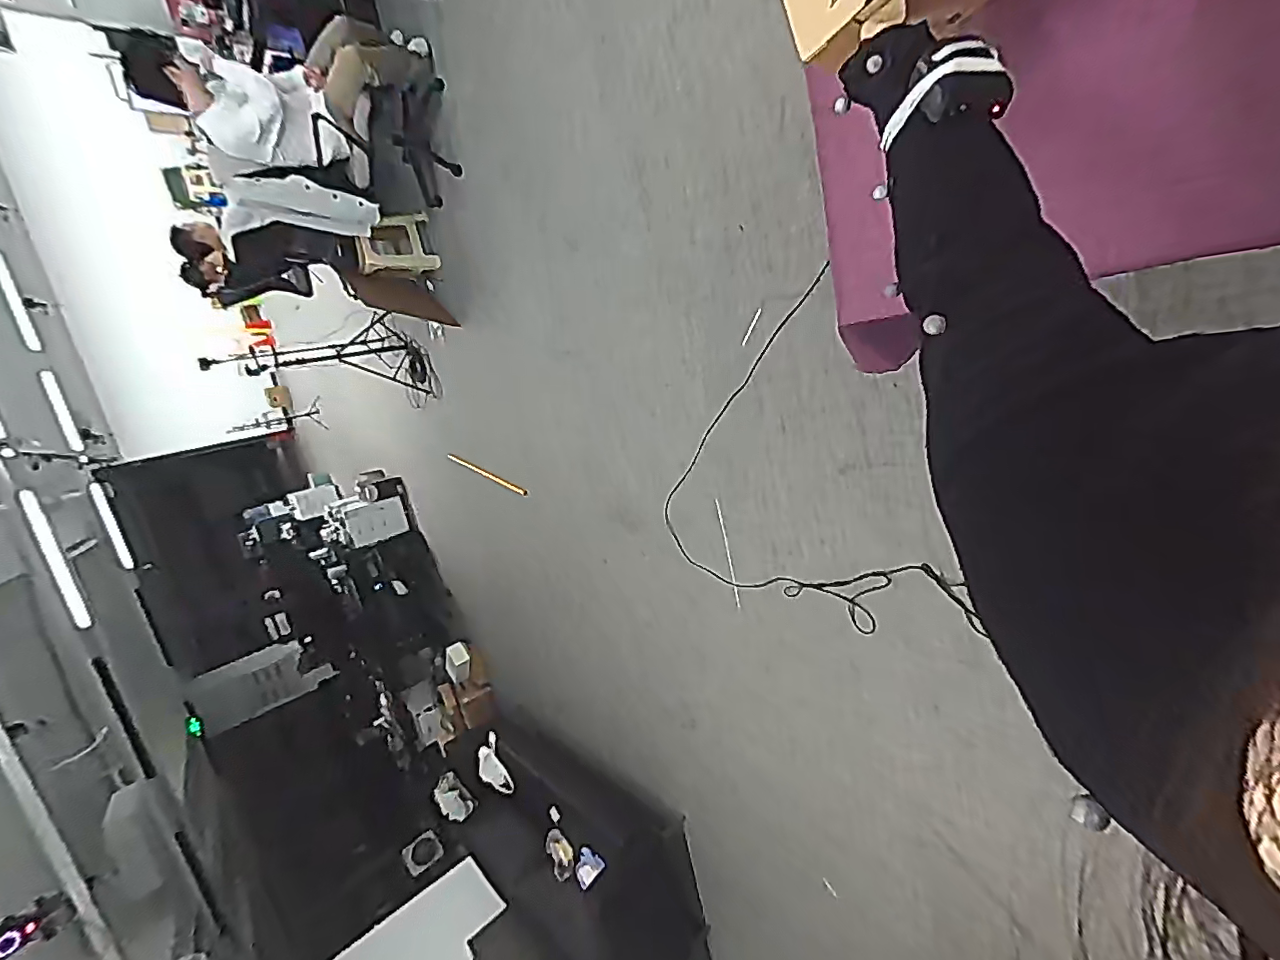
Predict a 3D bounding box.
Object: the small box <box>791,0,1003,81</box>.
[{"bbox_3d":[0.270,-0.569,0.572,0.168,0.176,0.179,-13,98,54],"label":"small box"}]
